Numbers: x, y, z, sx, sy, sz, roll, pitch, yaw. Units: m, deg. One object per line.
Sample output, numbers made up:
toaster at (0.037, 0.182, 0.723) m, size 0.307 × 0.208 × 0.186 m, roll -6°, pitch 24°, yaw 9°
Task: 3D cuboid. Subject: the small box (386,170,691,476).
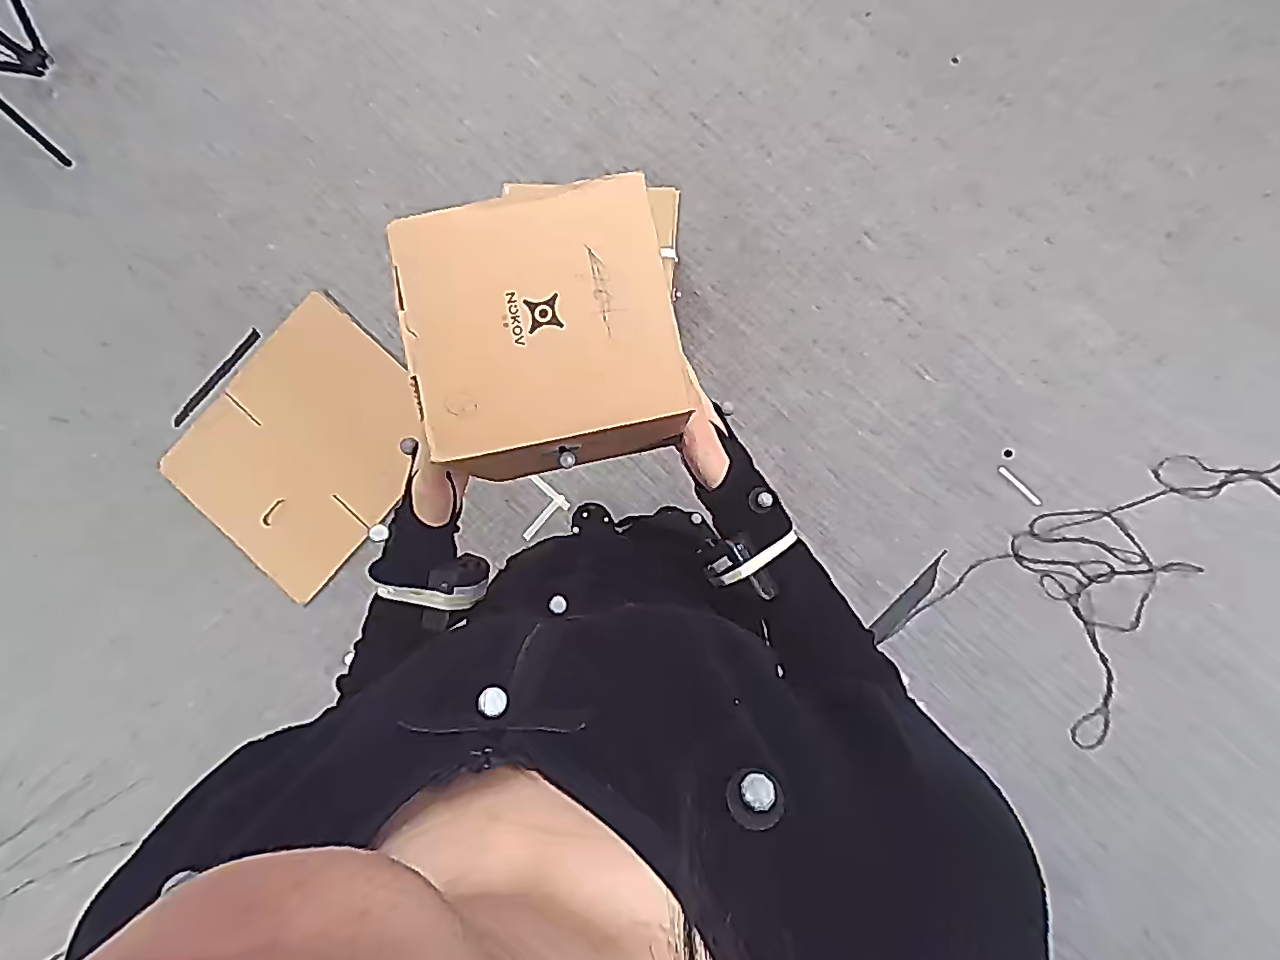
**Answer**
small box at (-0.066, -0.102, 0.429) m, size 0.179 × 0.176 × 0.168 m, roll -12°, pitch 87°, yaw -1°
